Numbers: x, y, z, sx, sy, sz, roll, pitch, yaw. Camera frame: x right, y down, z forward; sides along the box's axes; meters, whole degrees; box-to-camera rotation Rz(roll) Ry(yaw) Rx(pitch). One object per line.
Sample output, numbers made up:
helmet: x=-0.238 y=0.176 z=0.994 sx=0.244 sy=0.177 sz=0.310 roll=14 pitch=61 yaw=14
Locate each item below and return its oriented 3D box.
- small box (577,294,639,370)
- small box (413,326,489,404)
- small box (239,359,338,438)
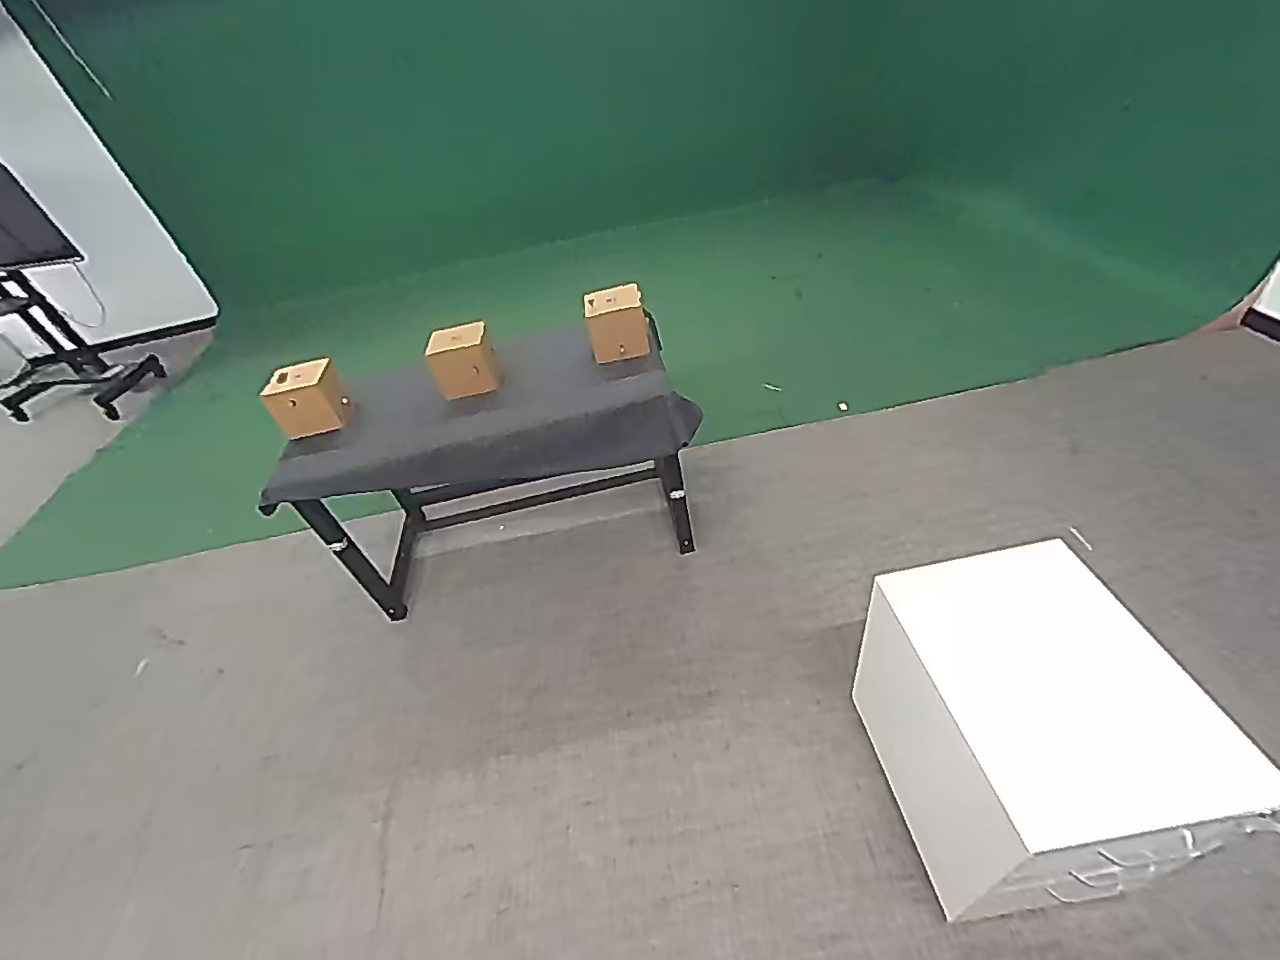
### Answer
small box: x=-0.101 y=-0.472 z=1.730 sx=0.179 sy=0.176 sz=0.168 roll=-10 pitch=41 yaw=0
small box: x=-0.588 y=-0.362 z=1.709 sx=0.179 sy=0.176 sz=0.168 roll=-13 pitch=39 yaw=-1
small box: x=-1.077 y=-0.247 z=1.671 sx=0.179 sy=0.176 sz=0.168 roll=-12 pitch=41 yaw=-5
